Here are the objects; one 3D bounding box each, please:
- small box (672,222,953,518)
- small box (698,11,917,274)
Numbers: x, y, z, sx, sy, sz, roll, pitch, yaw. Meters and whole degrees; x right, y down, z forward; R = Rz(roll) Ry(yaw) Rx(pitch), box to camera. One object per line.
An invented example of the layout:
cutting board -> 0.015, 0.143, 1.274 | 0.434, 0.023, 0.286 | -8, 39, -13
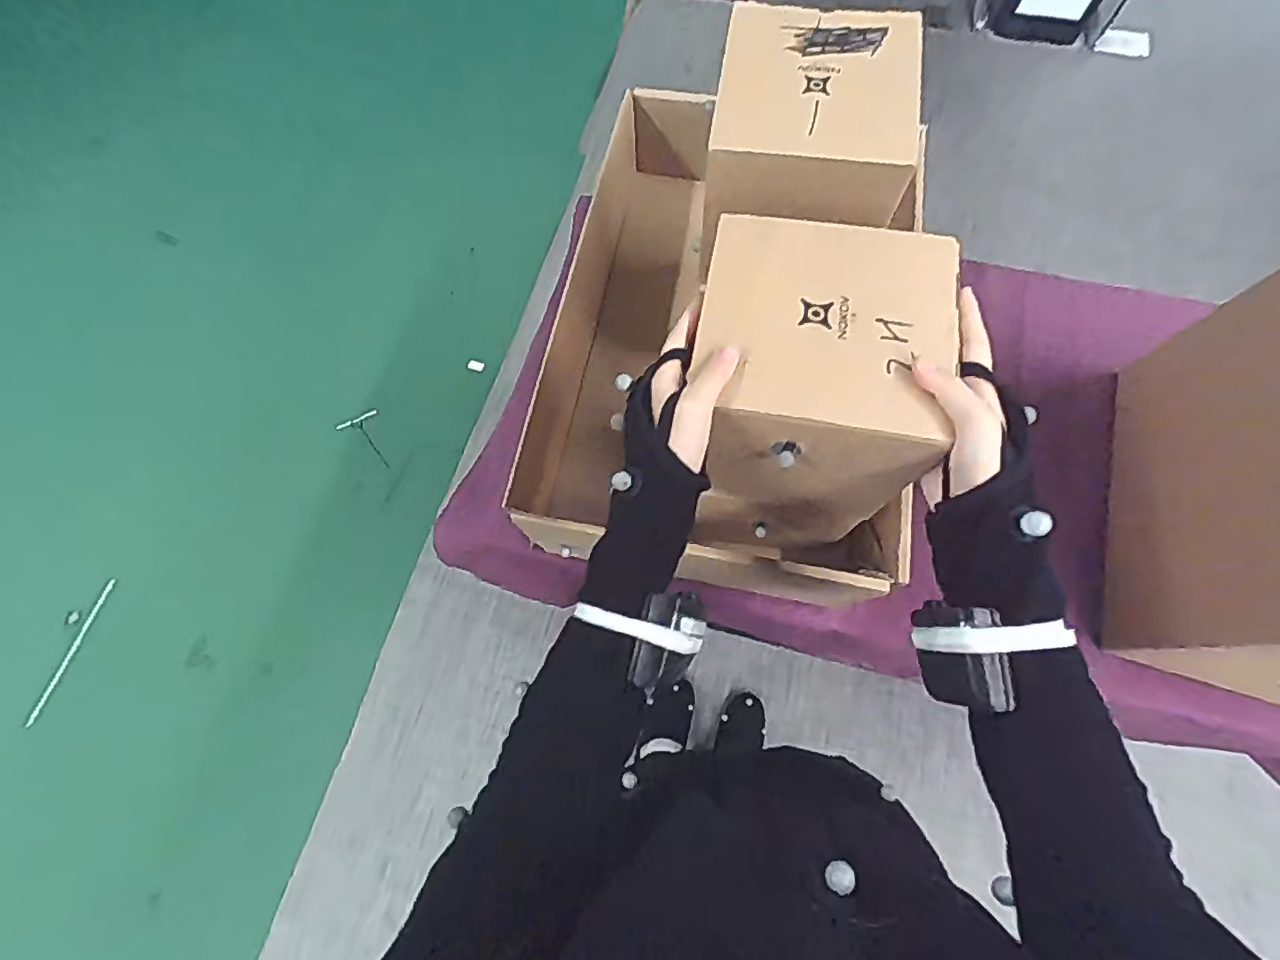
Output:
small box -> 0.128, -0.078, 0.448 | 0.179, 0.176, 0.168 | 11, 71, 7
small box -> 0.150, -0.304, 0.530 | 0.168, 0.176, 0.179 | 9, 73, 6
